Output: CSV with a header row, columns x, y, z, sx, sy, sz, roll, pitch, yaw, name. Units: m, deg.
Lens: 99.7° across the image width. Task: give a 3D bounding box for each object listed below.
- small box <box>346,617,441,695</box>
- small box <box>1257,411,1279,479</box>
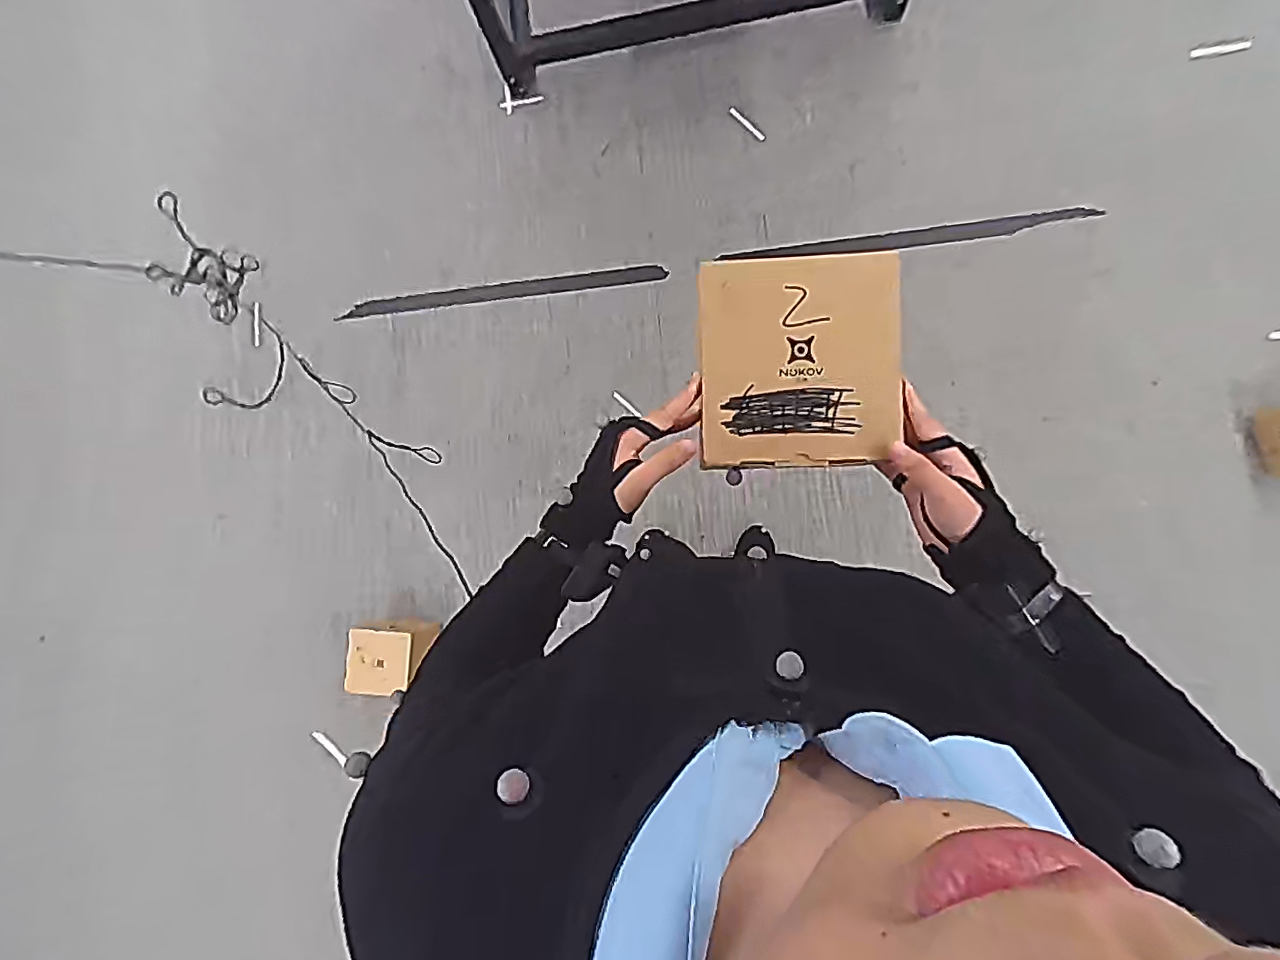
x,y,z,sx,sy,sz,roll,pitch,yaw,name
-0.669,0.478,1.489,0.179,0.176,0.168,3,85,7,small box
1.646,-0.104,1.283,0.179,0.176,0.168,-13,84,5,small box
